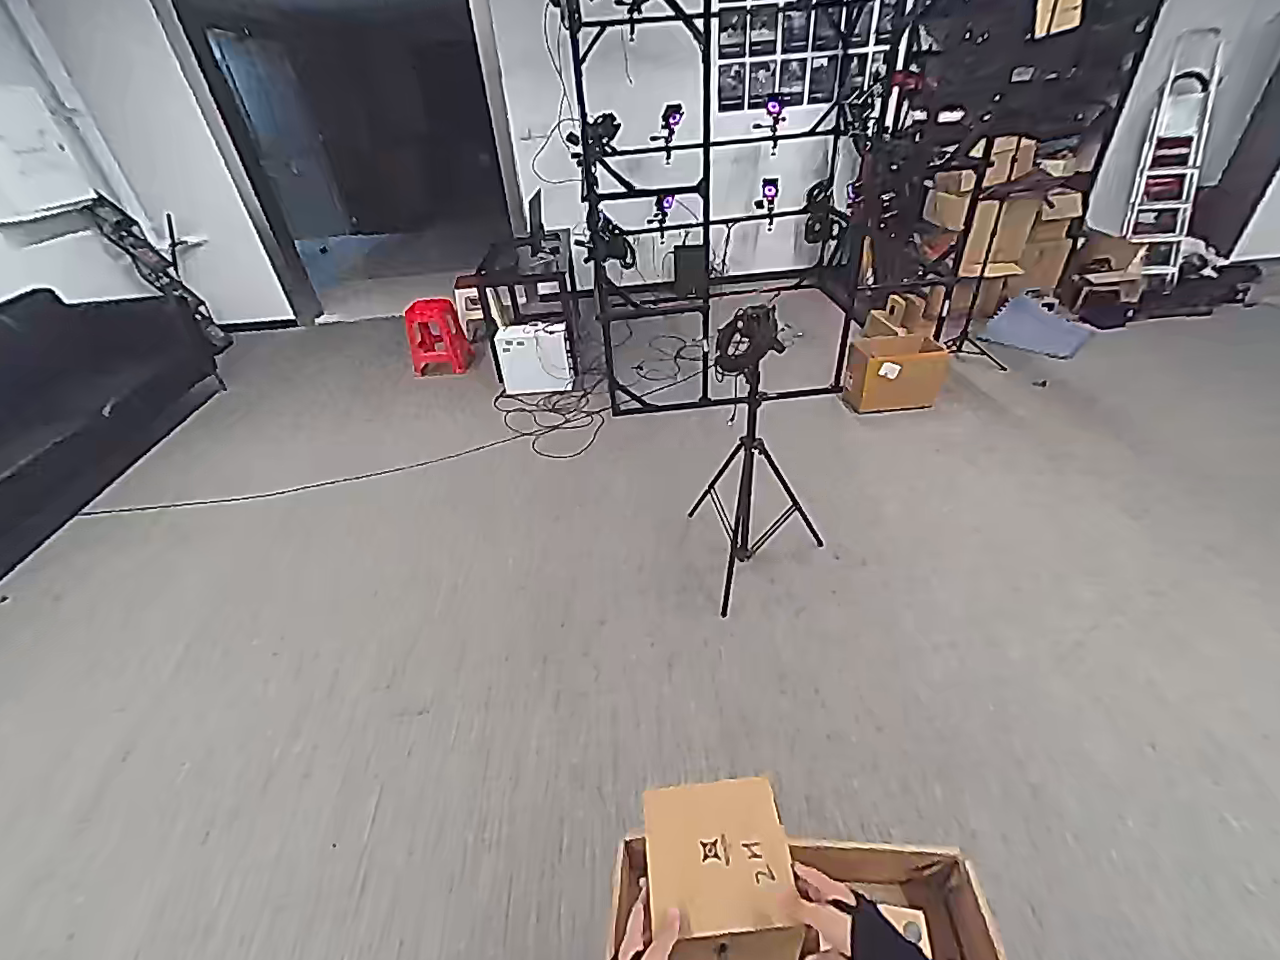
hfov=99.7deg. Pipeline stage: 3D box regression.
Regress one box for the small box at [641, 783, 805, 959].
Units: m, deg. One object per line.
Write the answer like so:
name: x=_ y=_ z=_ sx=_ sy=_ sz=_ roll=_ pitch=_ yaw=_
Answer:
small box: x=0.100 y=0.527 z=0.704 sx=0.179 sy=0.176 sz=0.168 roll=-6 pitch=35 yaw=-1
